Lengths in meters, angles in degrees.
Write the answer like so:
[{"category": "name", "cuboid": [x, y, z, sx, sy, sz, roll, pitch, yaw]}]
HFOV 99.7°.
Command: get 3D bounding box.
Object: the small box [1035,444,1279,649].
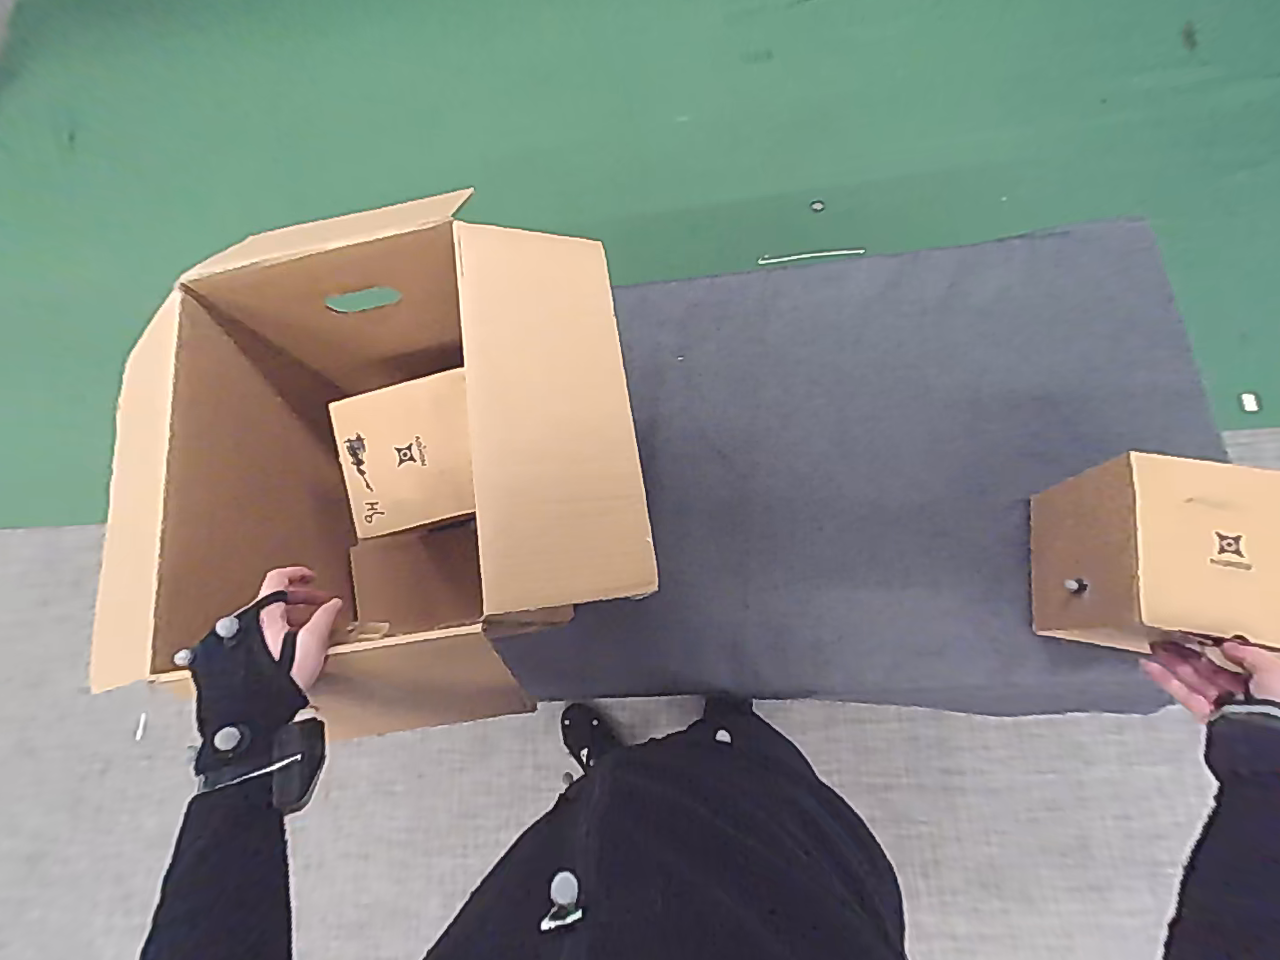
[{"category": "small box", "cuboid": [0.566, 0.081, 0.587, 0.168, 0.176, 0.179, 10, 73, 7]}]
